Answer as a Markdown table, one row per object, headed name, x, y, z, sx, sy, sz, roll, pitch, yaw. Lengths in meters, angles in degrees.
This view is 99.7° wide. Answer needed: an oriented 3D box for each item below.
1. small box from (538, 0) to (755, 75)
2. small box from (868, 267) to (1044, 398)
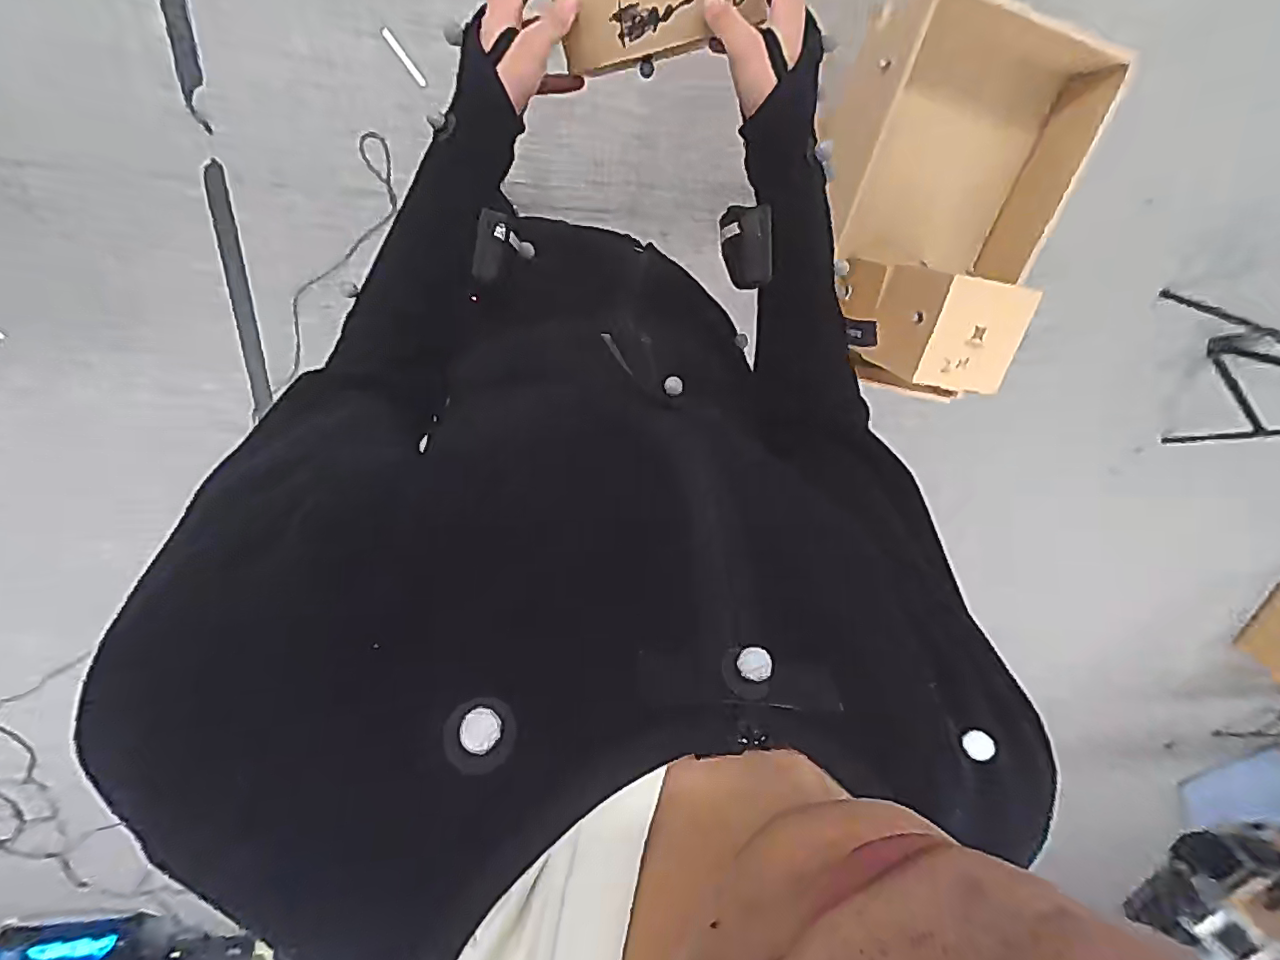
| name | x | y | z | sx | sy | sz | roll | pitch | yaw |
| --- | --- | --- | --- | --- | --- | --- | --- | --- | --- |
| small box | -0.006 | -0.460 | 0.446 | 0.168 | 0.176 | 0.179 | -9 | 125 | 8 |
| small box | 0.527 | -0.260 | 0.934 | 0.168 | 0.176 | 0.179 | 7 | 116 | -12 |
